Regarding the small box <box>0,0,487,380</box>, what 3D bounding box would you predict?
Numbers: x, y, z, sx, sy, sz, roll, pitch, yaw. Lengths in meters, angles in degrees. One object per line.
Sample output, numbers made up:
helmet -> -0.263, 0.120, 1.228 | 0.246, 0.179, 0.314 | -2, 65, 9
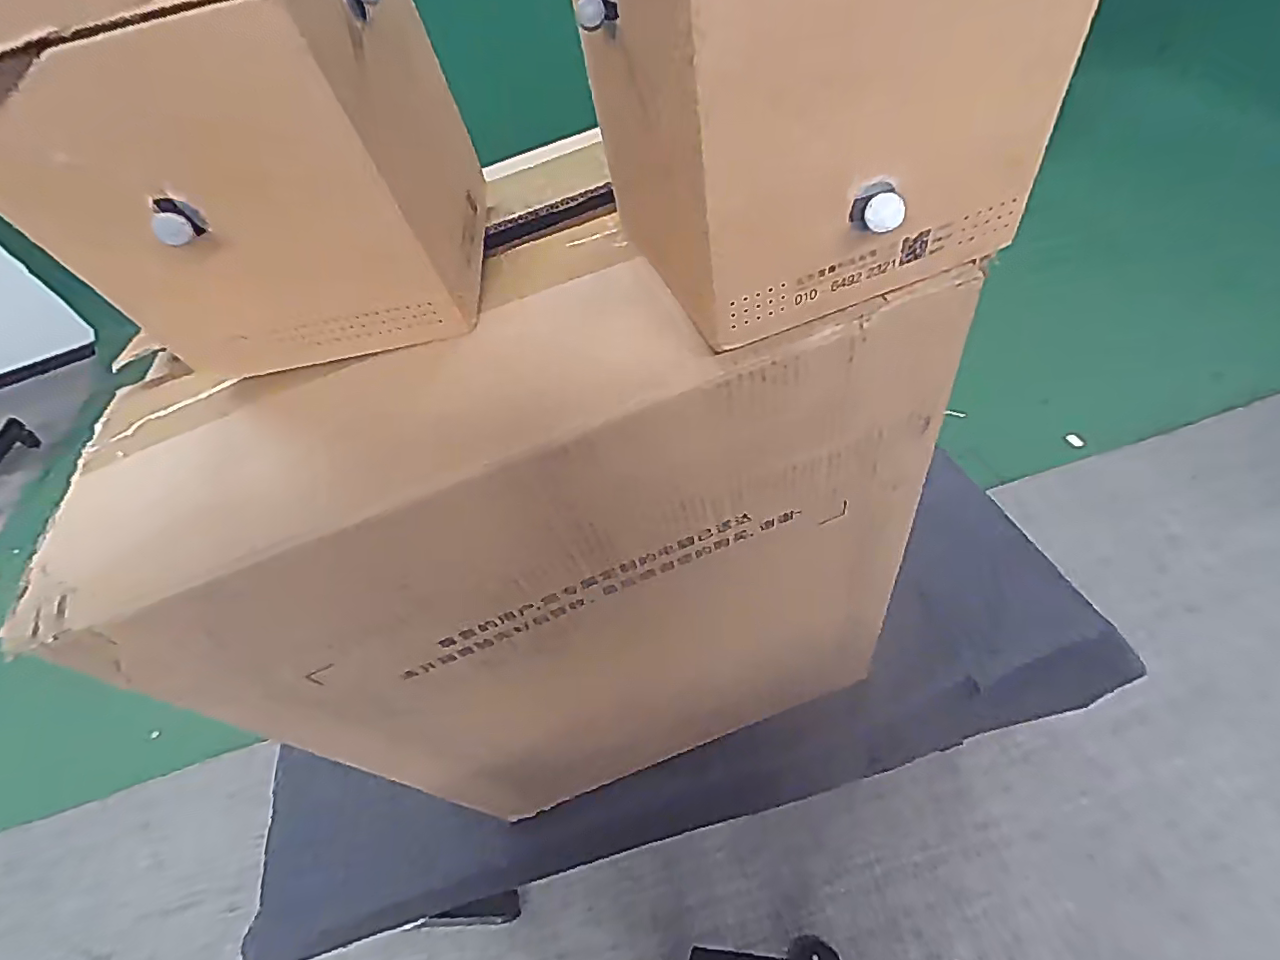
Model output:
small box -> -0.208, -0.178, 0.308 | 0.179, 0.176, 0.168 | -10, 58, 6

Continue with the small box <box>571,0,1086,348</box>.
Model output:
small box -> 0.068, -0.196, 0.266 | 0.168, 0.176, 0.179 | -21, 51, -3
